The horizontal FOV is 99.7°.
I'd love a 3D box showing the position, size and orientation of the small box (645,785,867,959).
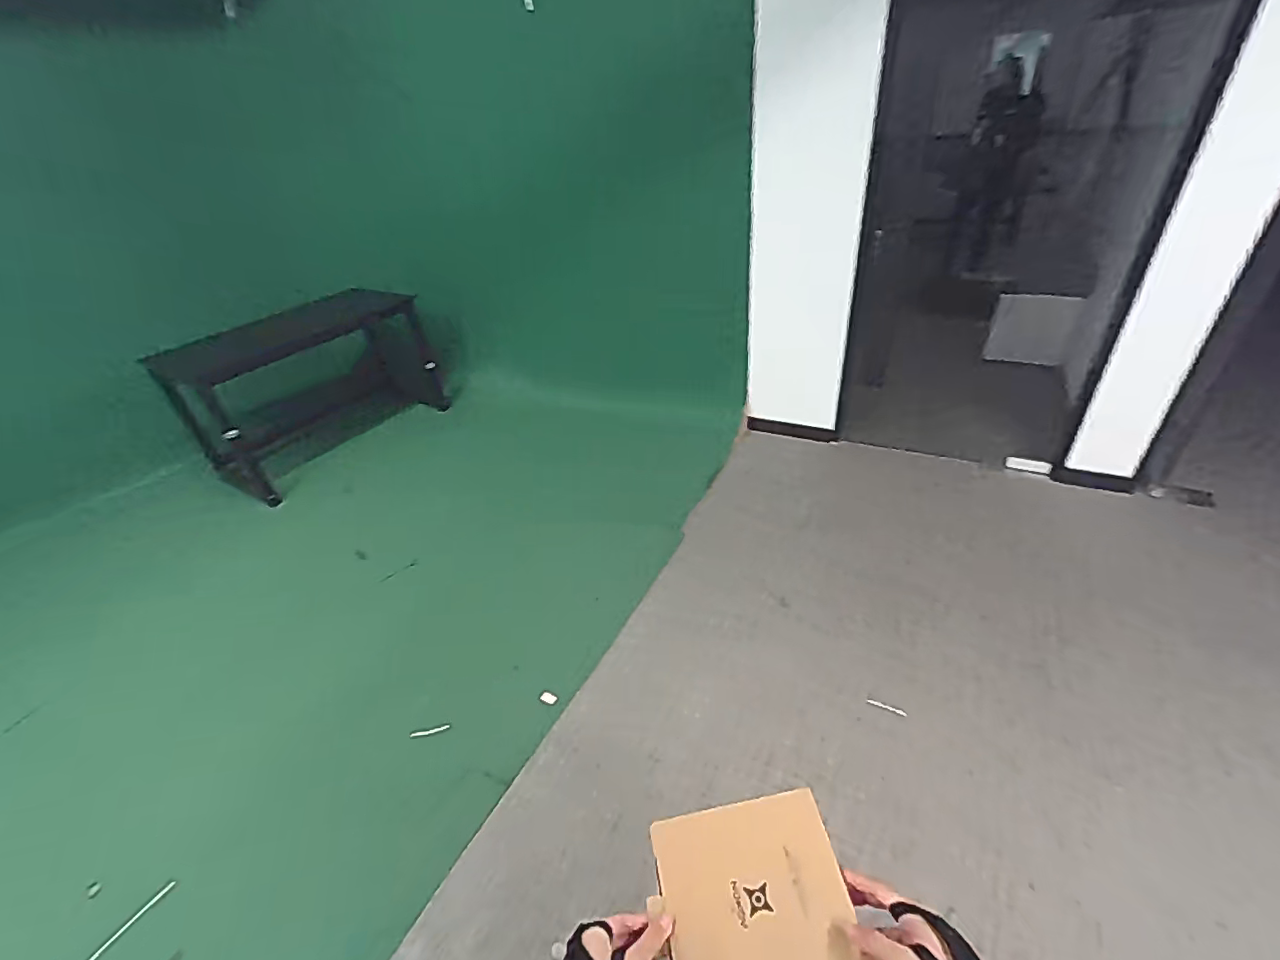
[{"bbox_3d":[0.112,0.449,0.560,0.179,0.176,0.168,-12,43,-2],"label":"small box"}]
